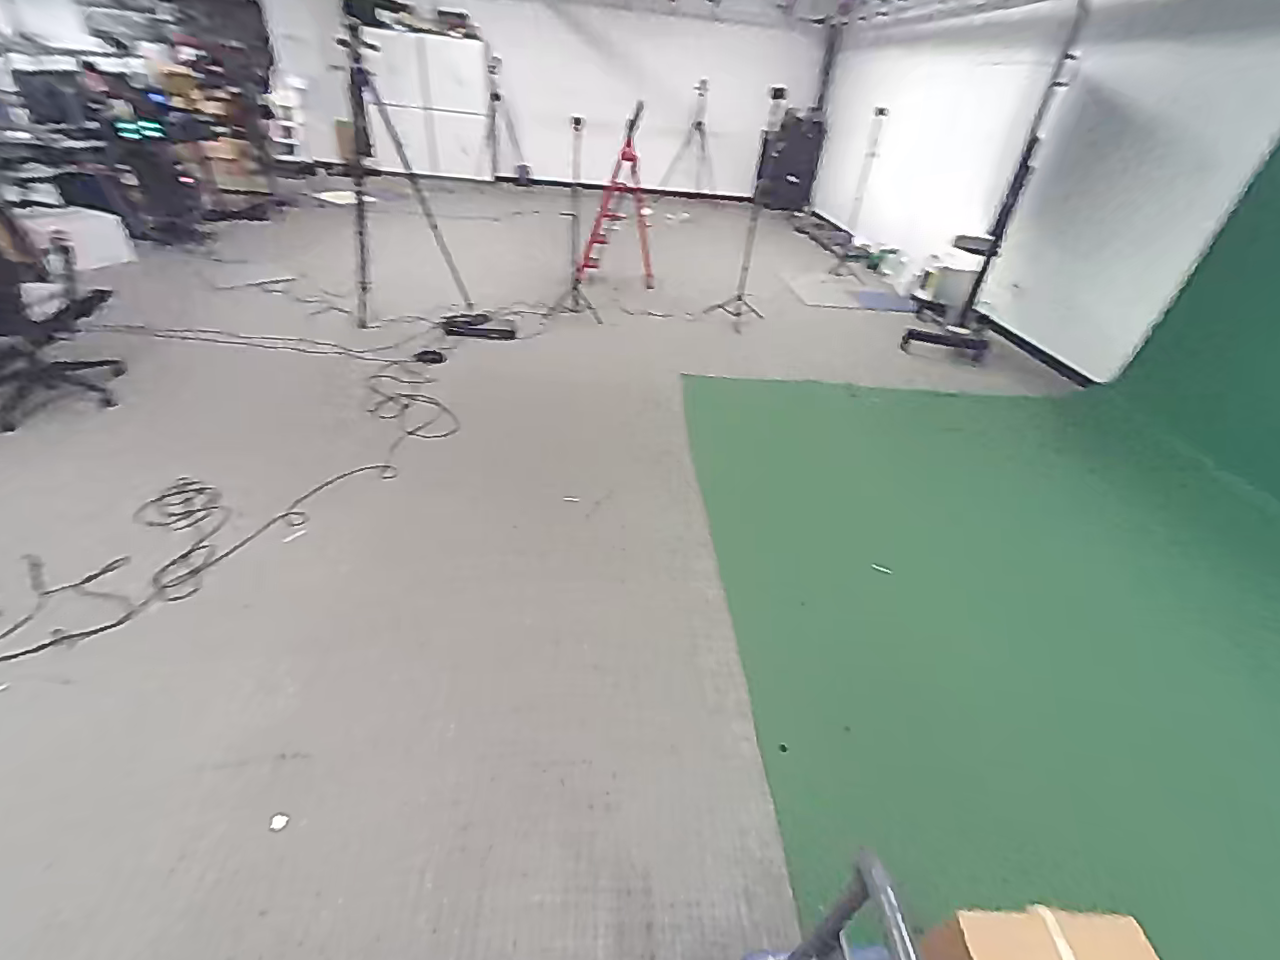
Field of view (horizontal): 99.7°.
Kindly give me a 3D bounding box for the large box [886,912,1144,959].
[{"bbox_3d":[0.649,0.966,0.840,0.320,0.320,0.408,4,37,-2],"label":"large box"}]
